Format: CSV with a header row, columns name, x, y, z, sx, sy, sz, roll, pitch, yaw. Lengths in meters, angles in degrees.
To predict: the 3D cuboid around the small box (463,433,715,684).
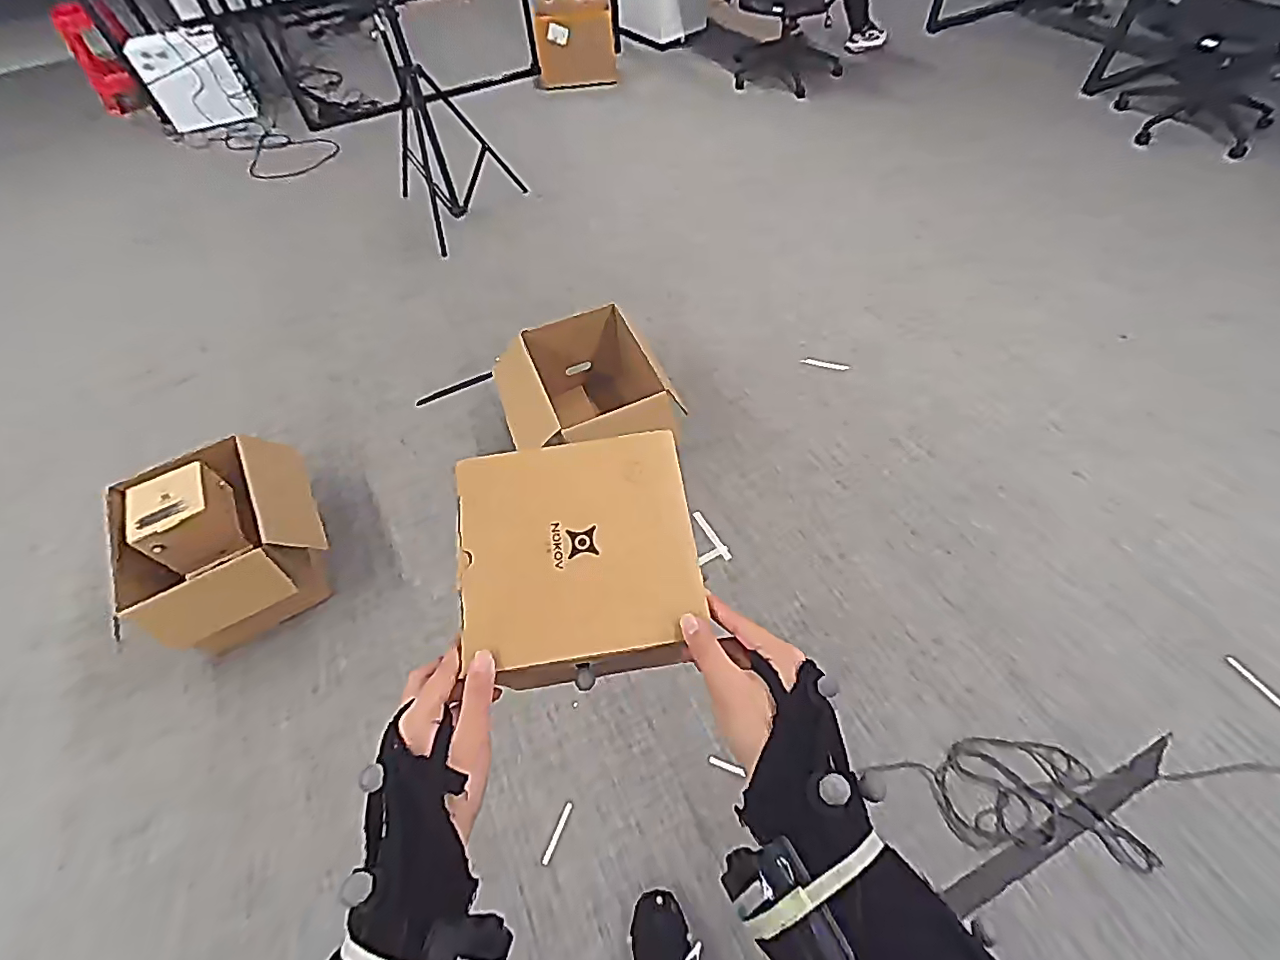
name,x,y,z,sx,sy,sz,roll,pitch,yaw
small box,-0.043,0.079,0.478,0.179,0.176,0.168,-9,66,-2
